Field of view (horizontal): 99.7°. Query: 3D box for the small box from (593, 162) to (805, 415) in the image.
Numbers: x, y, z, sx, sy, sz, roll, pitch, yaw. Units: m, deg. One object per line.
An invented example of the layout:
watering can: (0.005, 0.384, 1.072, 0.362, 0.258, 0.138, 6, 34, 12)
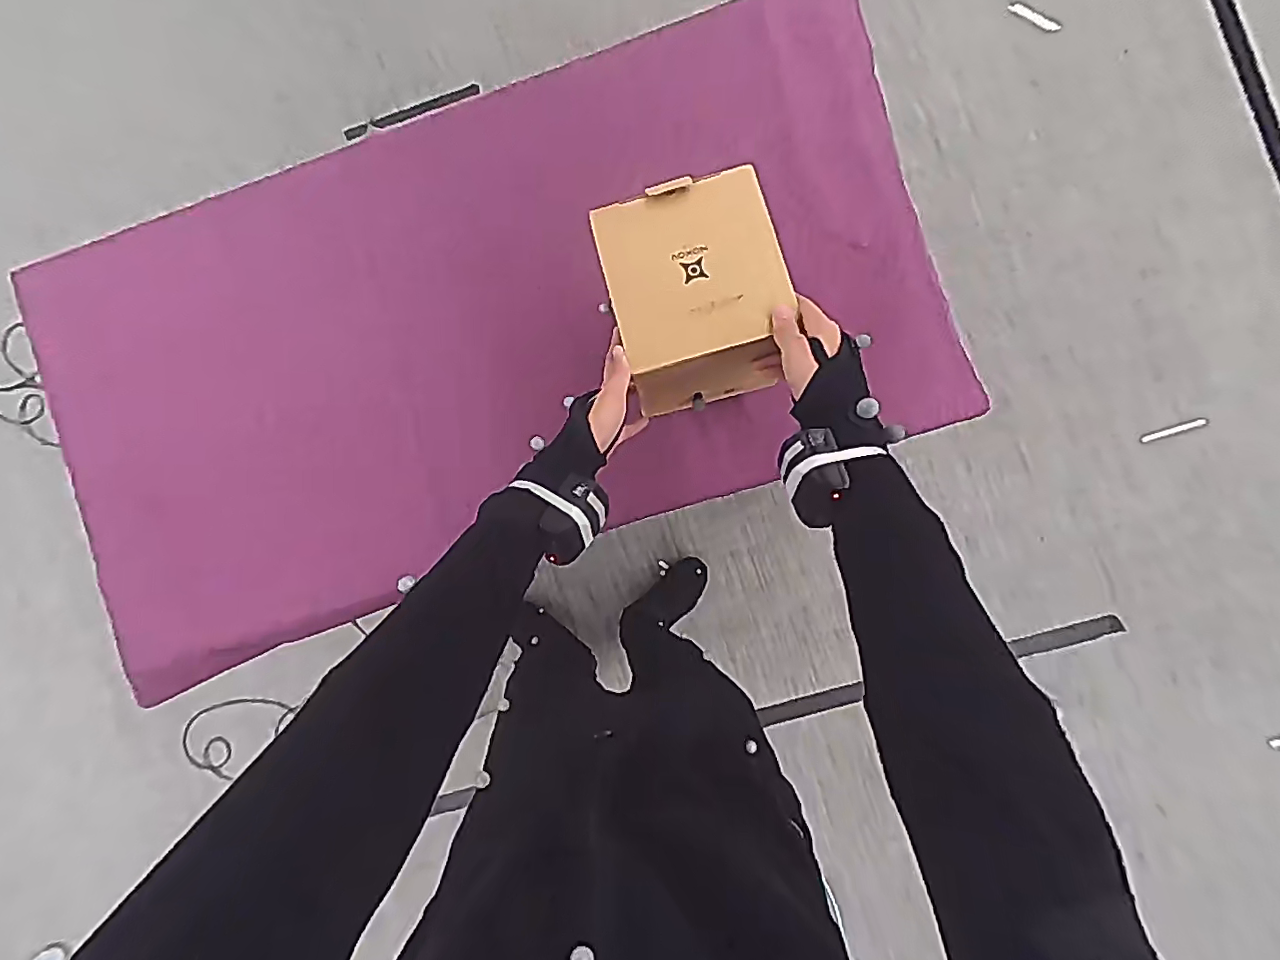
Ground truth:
small box: (0.056, -0.188, 0.577, 0.168, 0.176, 0.179, -14, 81, 3)
